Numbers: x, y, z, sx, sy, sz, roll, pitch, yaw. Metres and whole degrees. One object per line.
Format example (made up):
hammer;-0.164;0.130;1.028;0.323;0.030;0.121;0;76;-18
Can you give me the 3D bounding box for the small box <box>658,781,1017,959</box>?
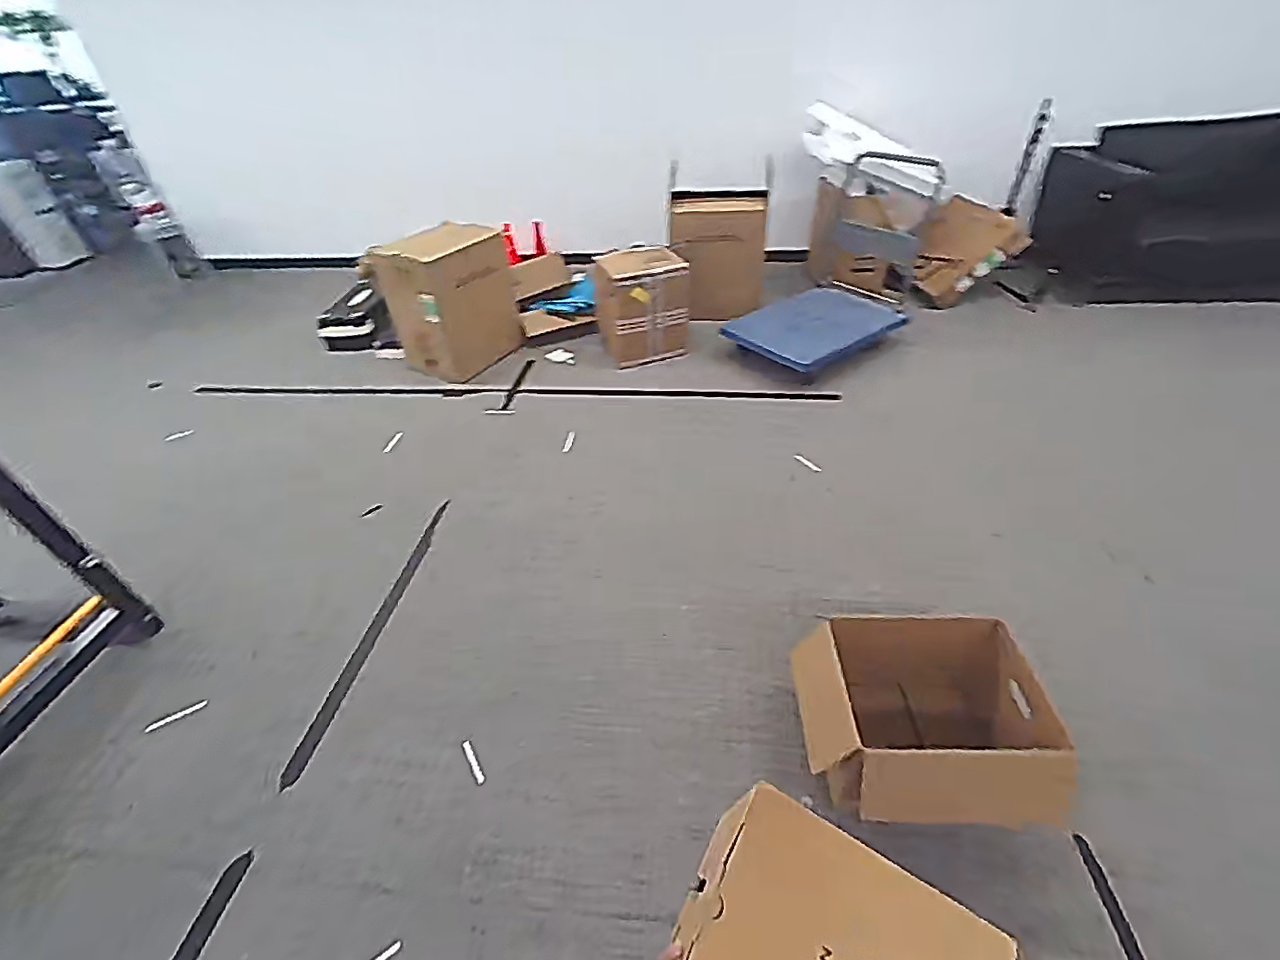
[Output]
small box;0.115;0.349;0.376;0.179;0.176;0.168;25;54;18
